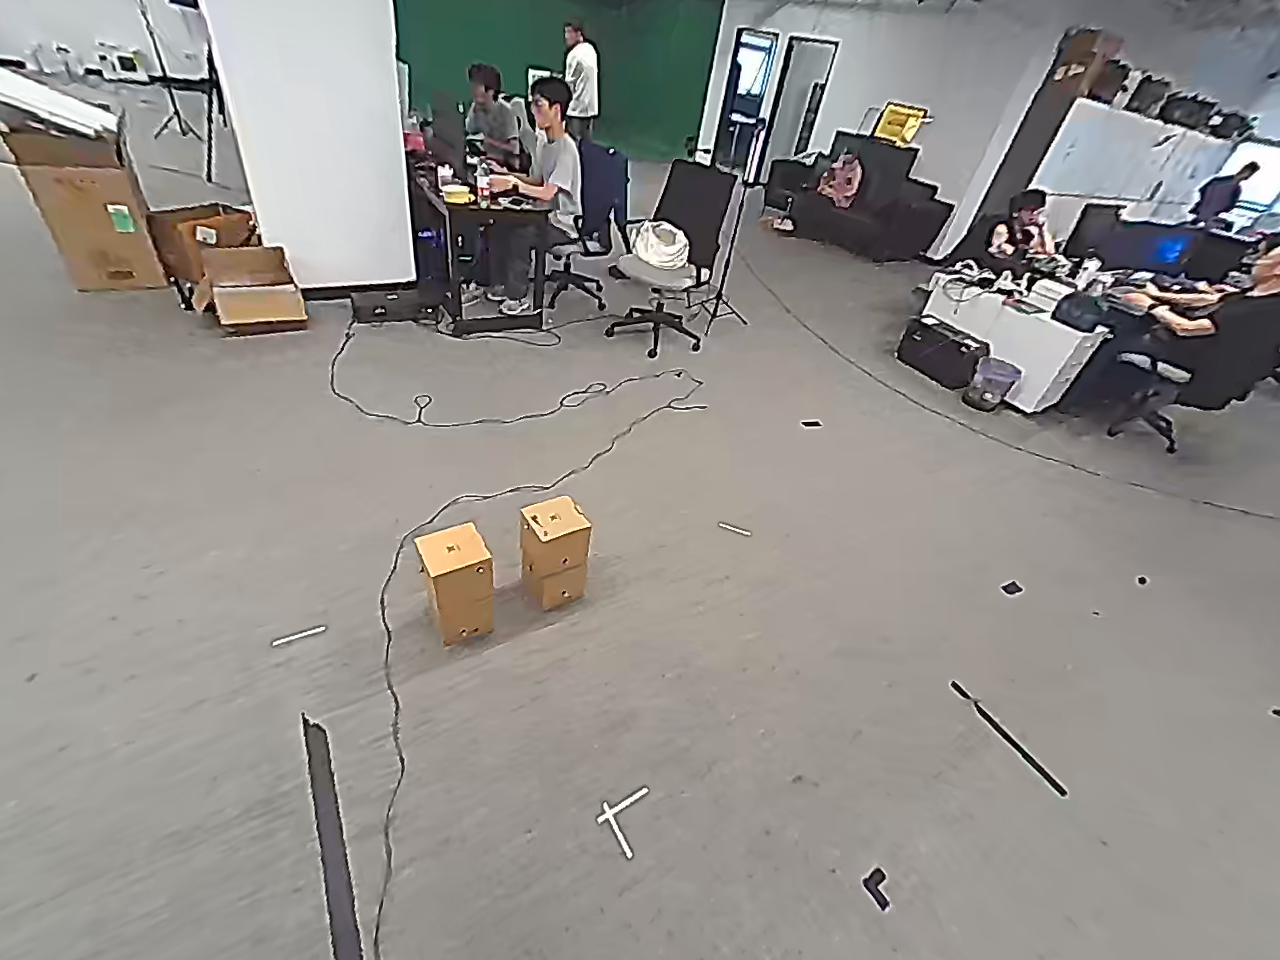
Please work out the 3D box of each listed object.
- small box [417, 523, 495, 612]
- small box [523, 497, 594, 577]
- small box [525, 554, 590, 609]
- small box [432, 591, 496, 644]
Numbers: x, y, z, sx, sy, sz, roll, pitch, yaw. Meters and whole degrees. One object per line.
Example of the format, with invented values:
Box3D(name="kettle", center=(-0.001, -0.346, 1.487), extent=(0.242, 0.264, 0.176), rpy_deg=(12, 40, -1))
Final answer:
Box3D(name="small box", center=(-0.545, 0.263, 1.613), extent=(0.179, 0.176, 0.168), rpy_deg=(-16, 46, -30))
Box3D(name="small box", center=(-0.273, 0.186, 1.770), extent=(0.179, 0.176, 0.168), rpy_deg=(-15, 45, -31))
Box3D(name="small box", center=(-0.293, 0.313, 1.874), extent=(0.168, 0.176, 0.179), rpy_deg=(-16, 46, -30))
Box3D(name="small box", center=(-0.563, 0.386, 1.717), extent=(0.168, 0.176, 0.179), rpy_deg=(-13, 45, -27))
